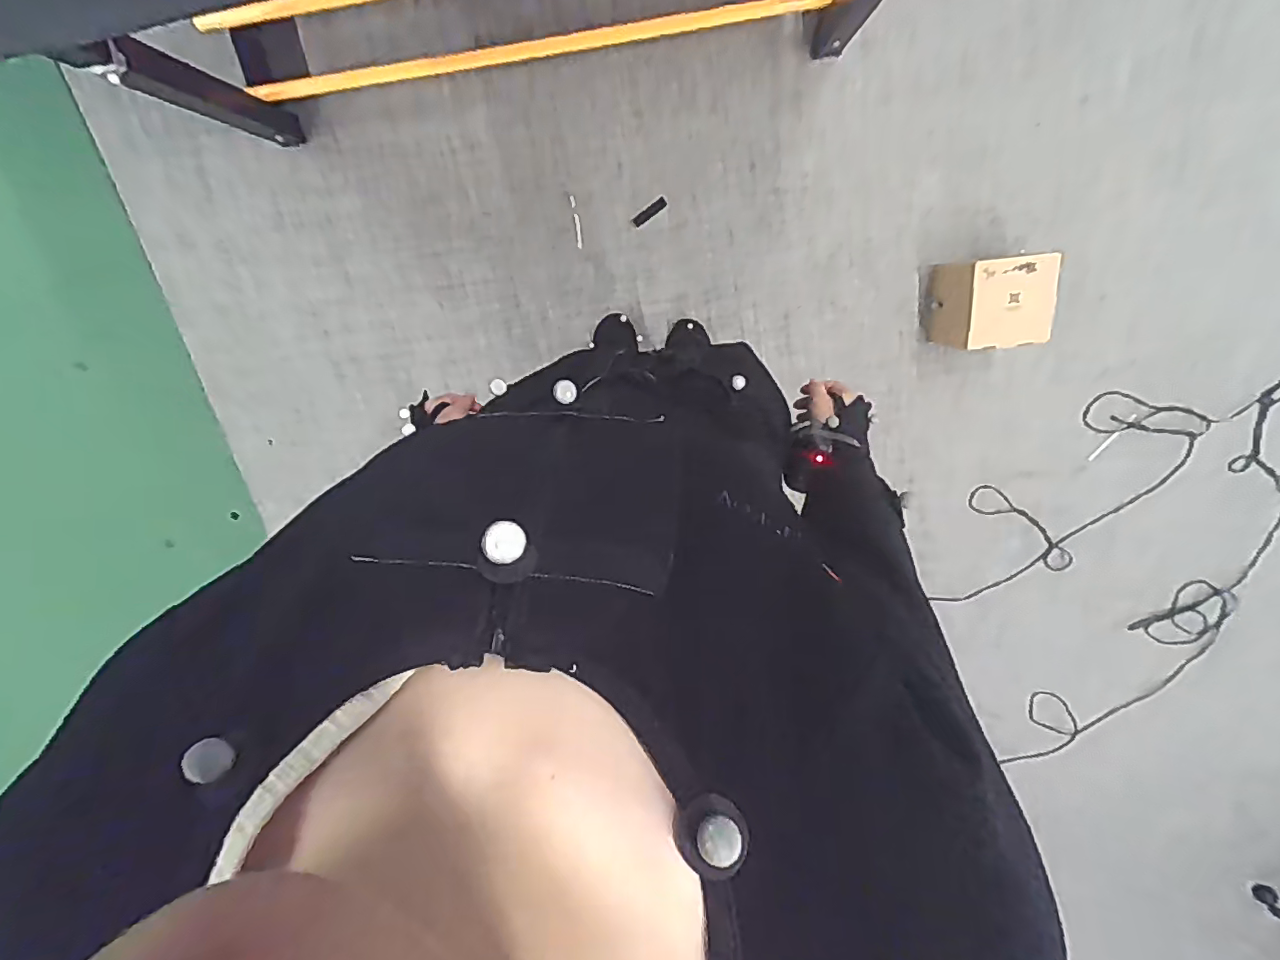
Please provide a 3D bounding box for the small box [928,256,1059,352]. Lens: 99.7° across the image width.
[{"bbox_3d":[0.744,-0.381,1.160,0.168,0.176,0.179,-5,110,3],"label":"small box"}]
